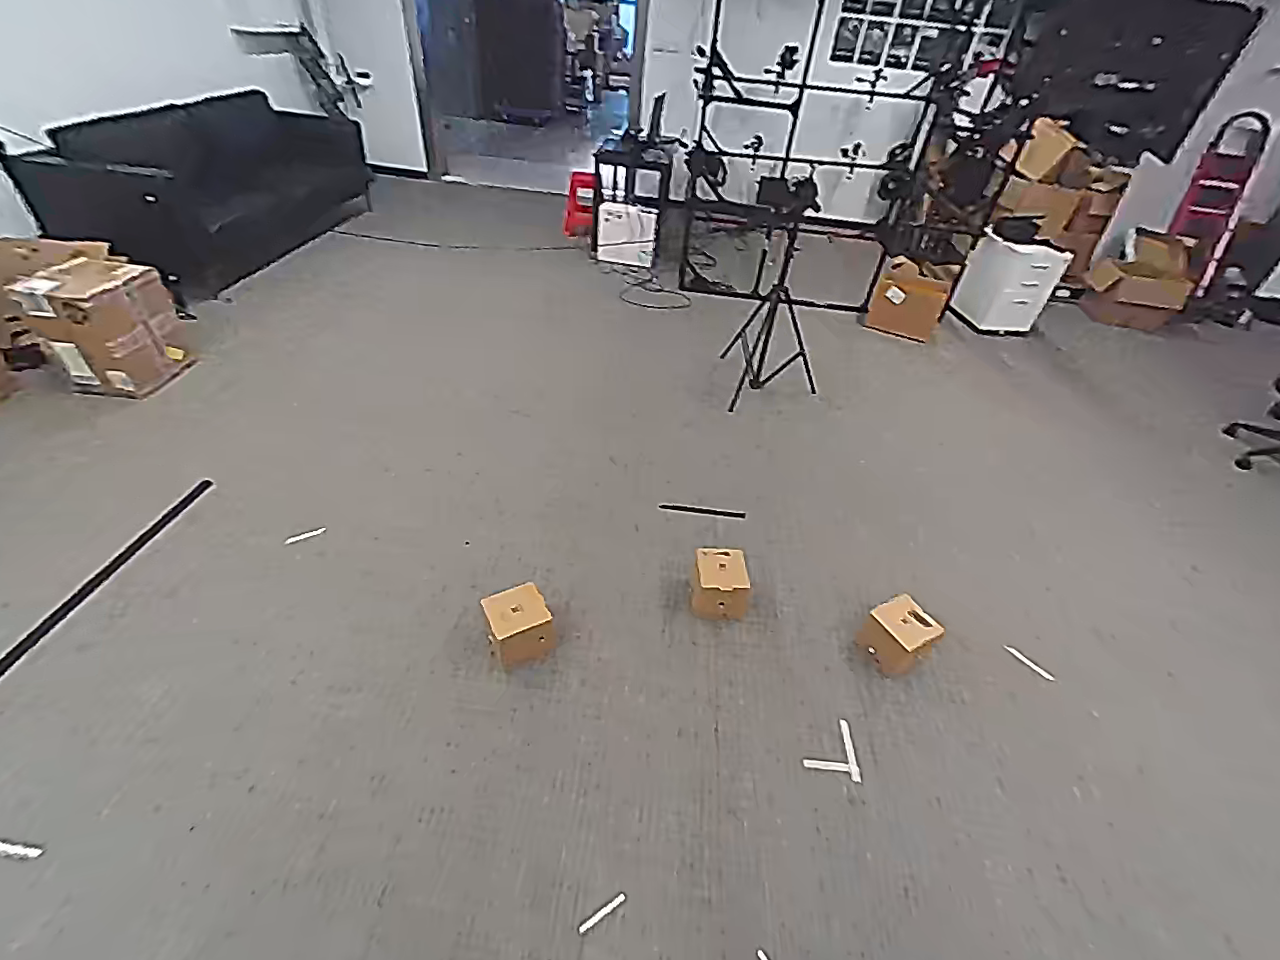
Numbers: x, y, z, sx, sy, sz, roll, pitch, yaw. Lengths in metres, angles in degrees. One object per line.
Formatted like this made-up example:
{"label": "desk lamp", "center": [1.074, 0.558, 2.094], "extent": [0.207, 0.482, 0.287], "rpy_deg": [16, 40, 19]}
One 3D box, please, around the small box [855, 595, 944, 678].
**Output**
{"label": "small box", "center": [0.847, 0.516, 1.782], "extent": [0.179, 0.176, 0.168], "rpy_deg": [-17, 45, -23]}

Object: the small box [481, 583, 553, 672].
{"label": "small box", "center": [-0.382, 0.461, 1.690], "extent": [0.179, 0.176, 0.168], "rpy_deg": [-18, 44, -26]}

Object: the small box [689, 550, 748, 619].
{"label": "small box", "center": [0.268, 0.366, 1.885], "extent": [0.168, 0.176, 0.179], "rpy_deg": [3, 41, -5]}
